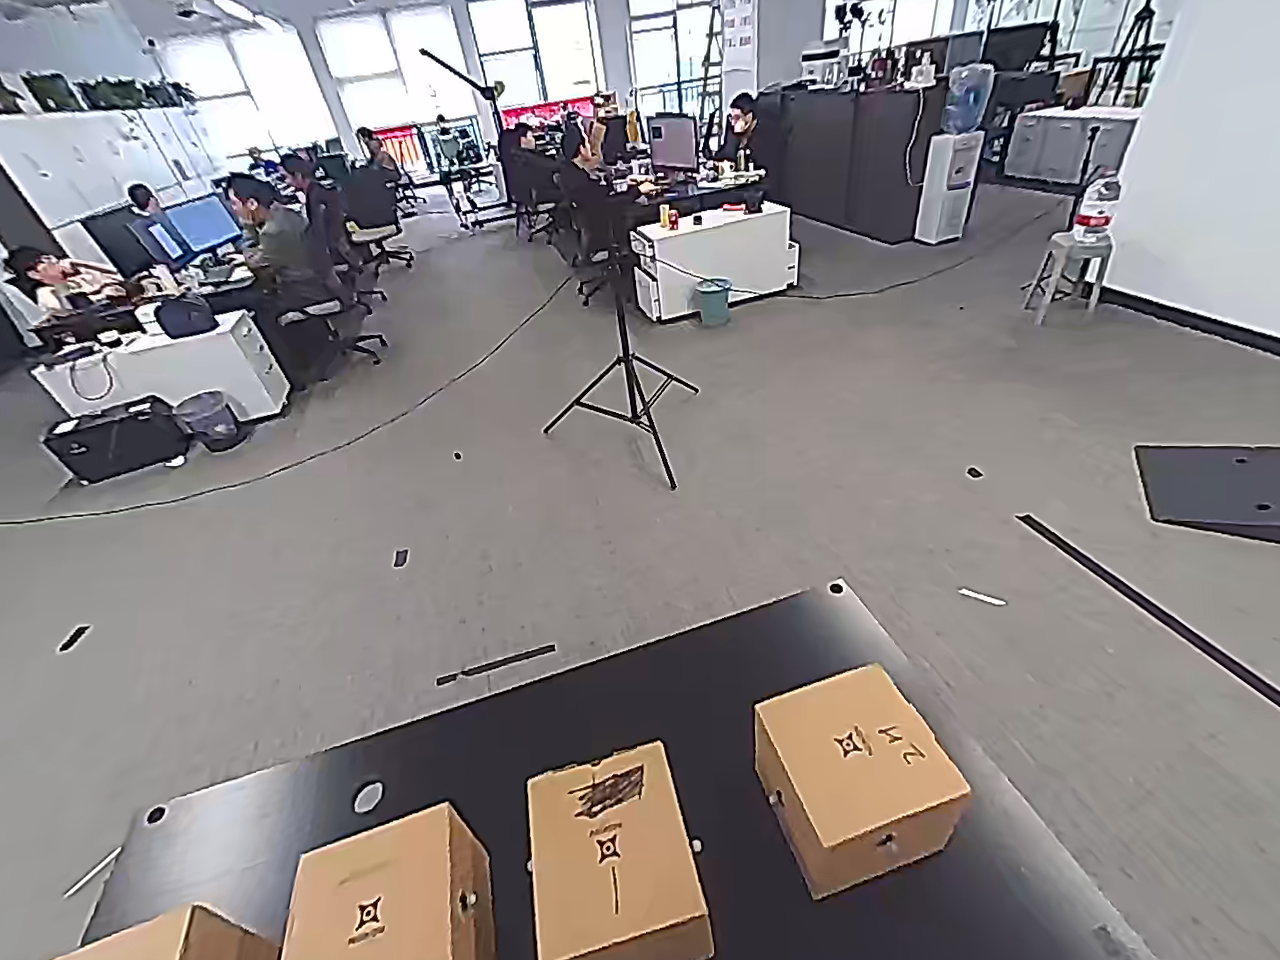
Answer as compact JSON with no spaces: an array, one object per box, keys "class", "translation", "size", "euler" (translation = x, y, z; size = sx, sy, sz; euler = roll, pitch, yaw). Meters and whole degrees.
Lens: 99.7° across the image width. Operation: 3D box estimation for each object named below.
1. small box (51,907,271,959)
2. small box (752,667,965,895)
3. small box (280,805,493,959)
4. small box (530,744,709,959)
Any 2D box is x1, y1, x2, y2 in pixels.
[{"class":"small box","translation":[-0.511,0.580,0.541],"size":[0.179,0.176,0.168],"euler":[-16,37,-12]},{"class":"small box","translation":[0.253,0.370,0.667],"size":[0.179,0.176,0.168],"euler":[-15,38,-8]},{"class":"small box","translation":[-0.265,0.506,0.592],"size":[0.168,0.176,0.179],"euler":[-16,37,-10]},{"class":"small box","translation":[-0.024,0.446,0.622],"size":[0.168,0.176,0.179],"euler":[-13,38,-6]}]
